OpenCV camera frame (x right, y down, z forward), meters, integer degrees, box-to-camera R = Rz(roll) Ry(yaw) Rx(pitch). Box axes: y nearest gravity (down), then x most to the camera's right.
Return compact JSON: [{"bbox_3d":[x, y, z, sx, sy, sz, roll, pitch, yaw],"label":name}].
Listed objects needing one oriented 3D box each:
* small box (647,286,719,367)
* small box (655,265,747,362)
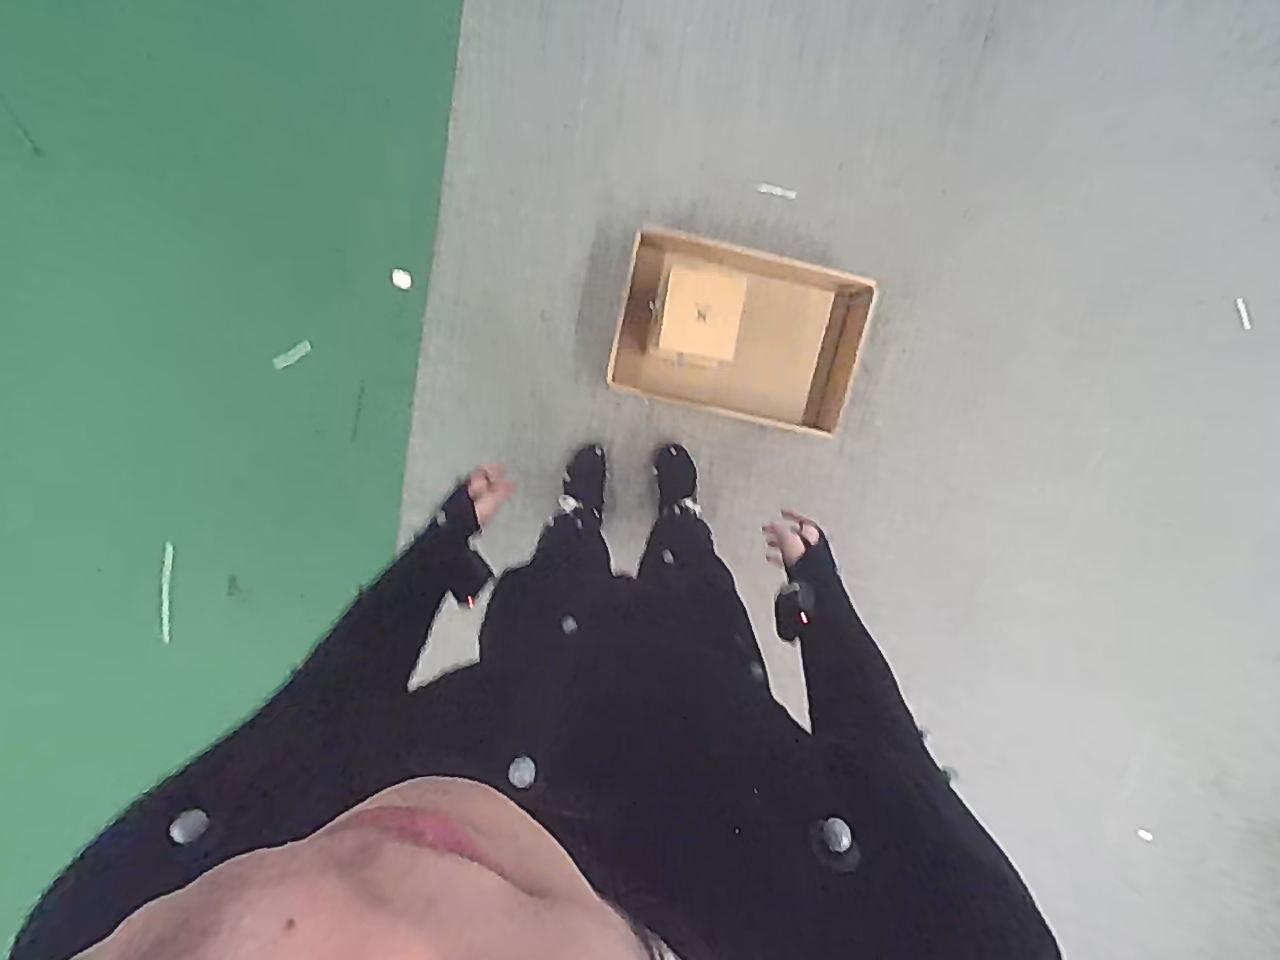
[{"bbox_3d":[0.118,-0.385,1.385,0.179,0.176,0.168,11,101,-6],"label":"small box"},{"bbox_3d":[0.129,-0.368,1.223,0.168,0.176,0.179,9,100,-4],"label":"small box"}]
